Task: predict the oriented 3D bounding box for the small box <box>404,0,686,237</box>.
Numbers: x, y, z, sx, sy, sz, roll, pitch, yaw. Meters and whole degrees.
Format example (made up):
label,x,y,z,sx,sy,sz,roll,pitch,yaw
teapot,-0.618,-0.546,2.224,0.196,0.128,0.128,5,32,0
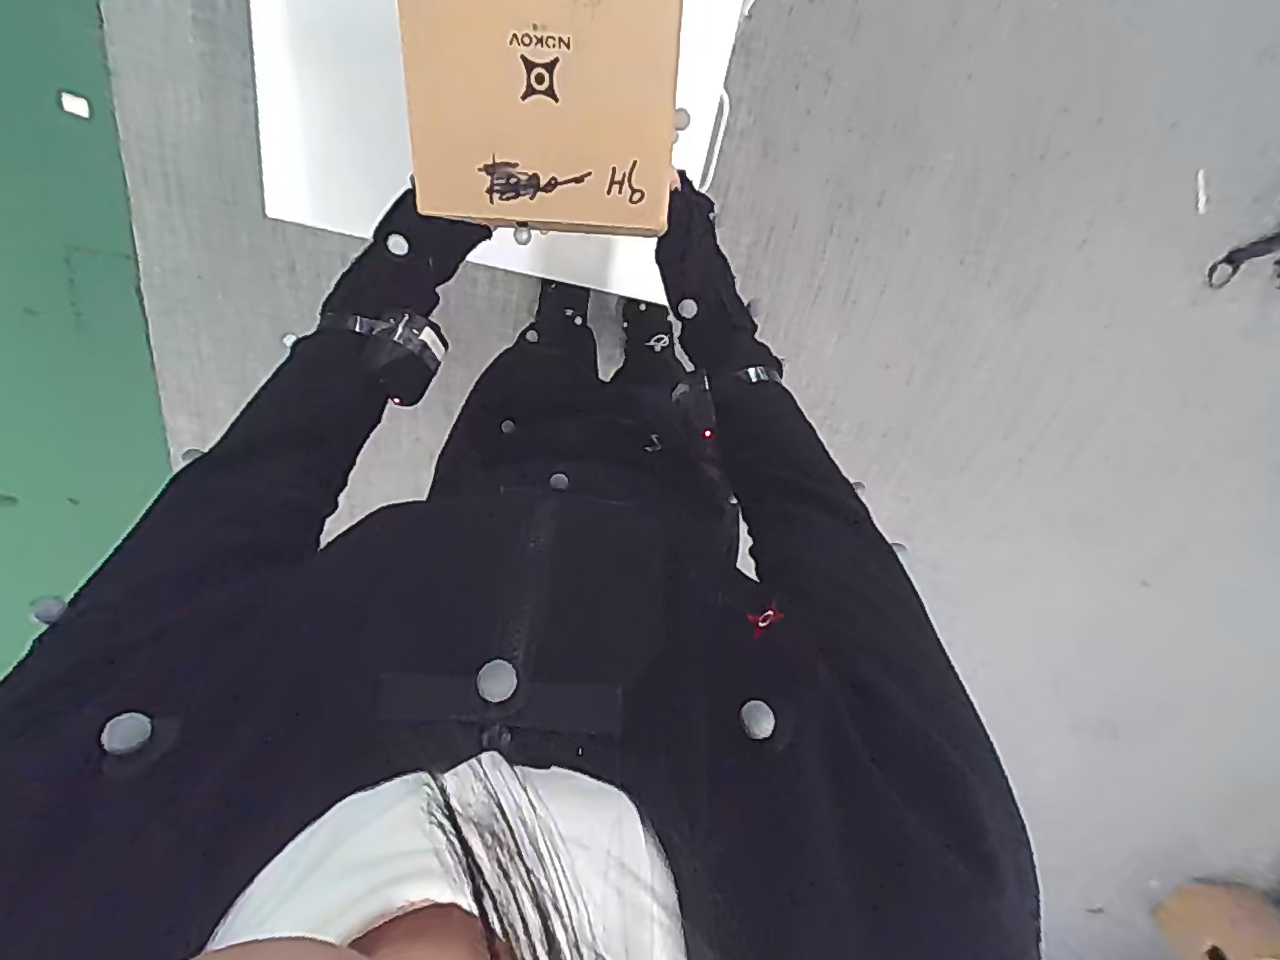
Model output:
label,x,y,z,sx,sy,sz,roll,pitch,yaw
small box,-0.057,-0.282,0.397,0.168,0.176,0.179,3,113,0
